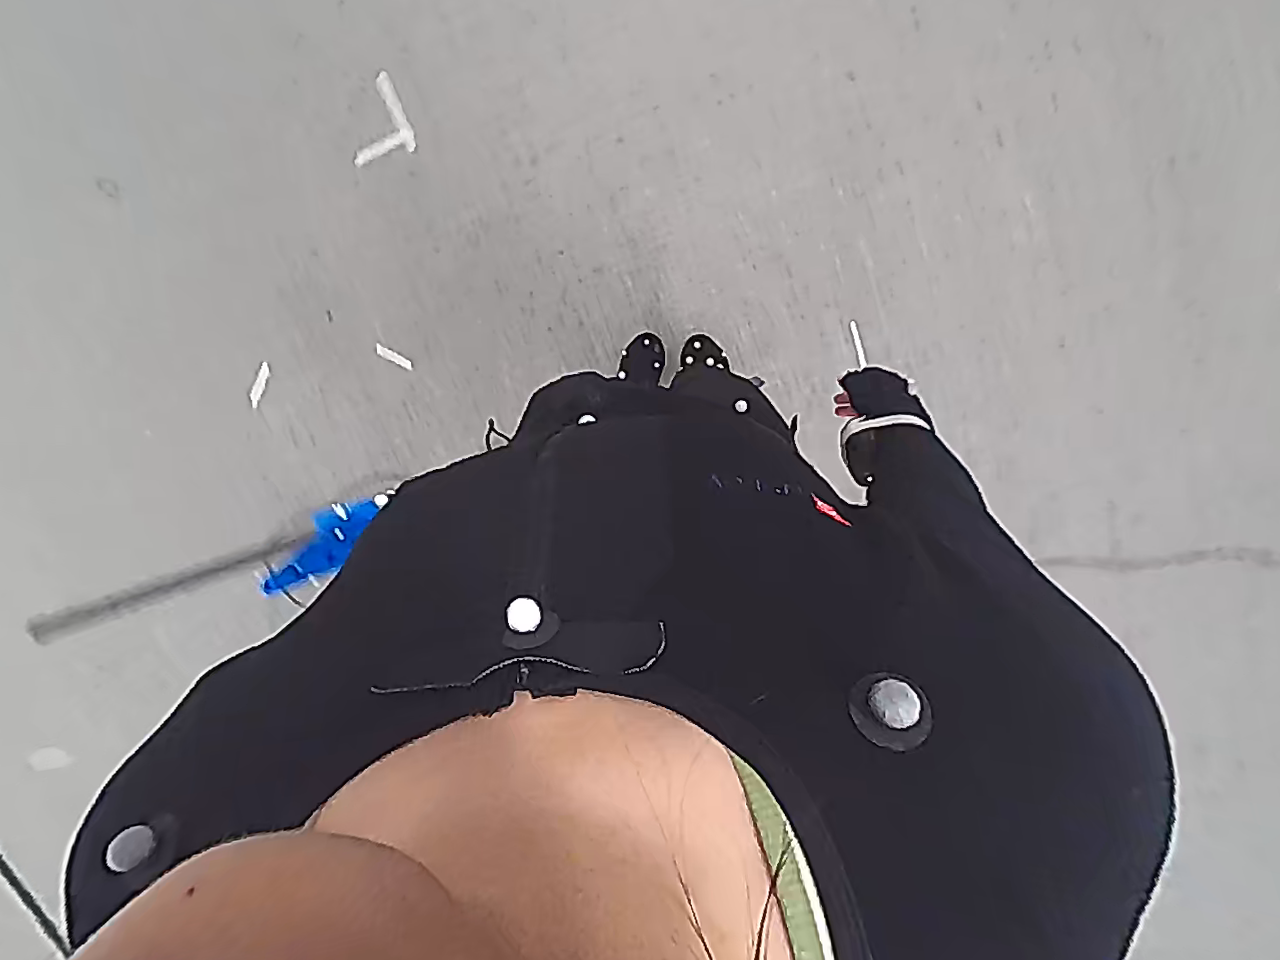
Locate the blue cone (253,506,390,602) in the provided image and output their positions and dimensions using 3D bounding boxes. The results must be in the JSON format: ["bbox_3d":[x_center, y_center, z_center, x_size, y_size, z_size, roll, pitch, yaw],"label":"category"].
[{"bbox_3d":[-0.831,0.214,1.387,0.192,0.380,0.193,-15,102,6],"label":"blue cone"}]
